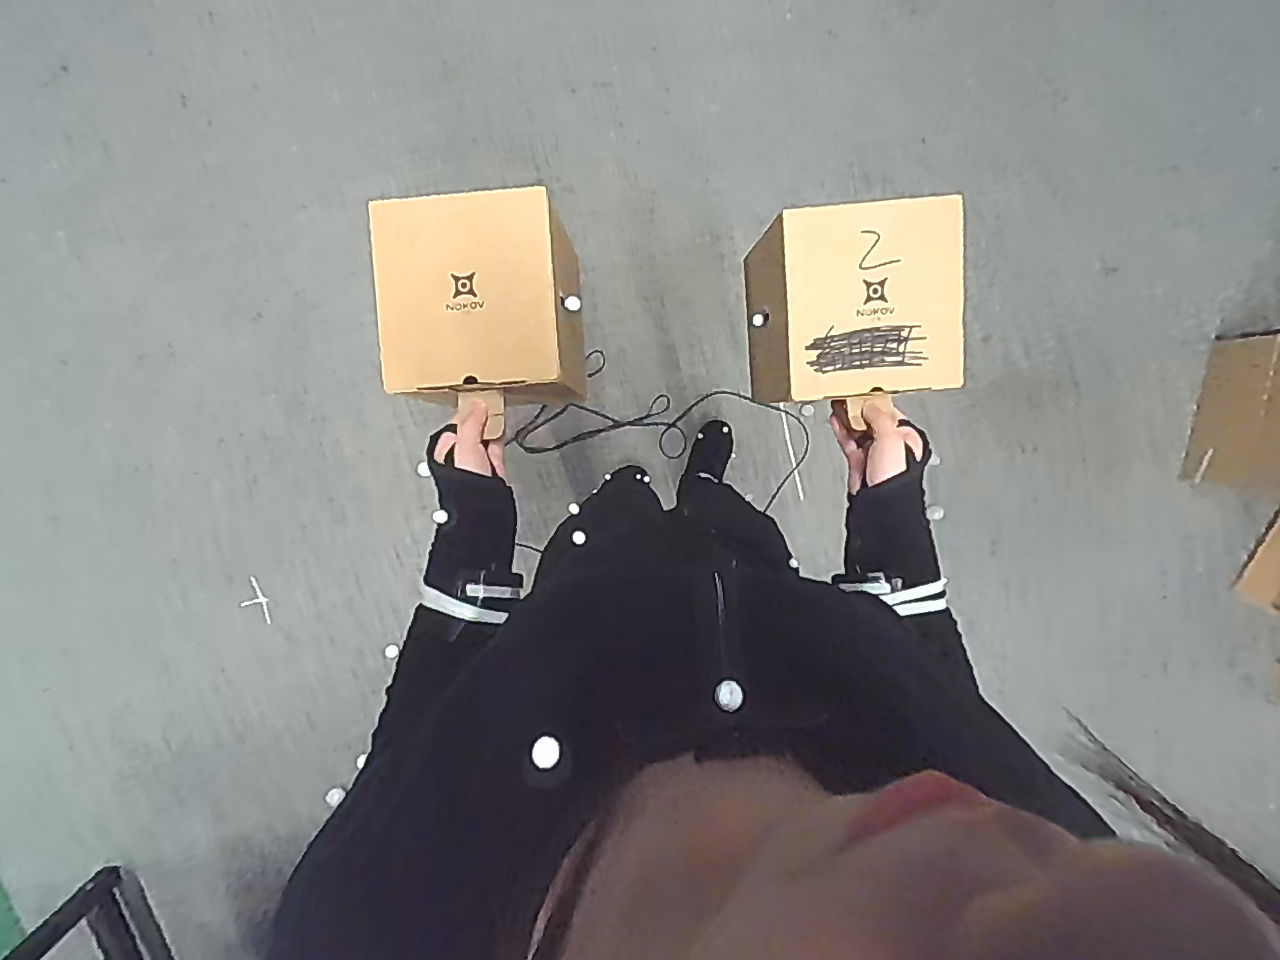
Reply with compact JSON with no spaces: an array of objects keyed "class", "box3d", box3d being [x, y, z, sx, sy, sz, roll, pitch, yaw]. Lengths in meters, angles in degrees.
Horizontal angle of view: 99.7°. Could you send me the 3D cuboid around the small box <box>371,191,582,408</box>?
[{"class":"small box","box3d":[-0.159,-0.176,0.578,0.168,0.176,0.179,-4,93,3]}]
